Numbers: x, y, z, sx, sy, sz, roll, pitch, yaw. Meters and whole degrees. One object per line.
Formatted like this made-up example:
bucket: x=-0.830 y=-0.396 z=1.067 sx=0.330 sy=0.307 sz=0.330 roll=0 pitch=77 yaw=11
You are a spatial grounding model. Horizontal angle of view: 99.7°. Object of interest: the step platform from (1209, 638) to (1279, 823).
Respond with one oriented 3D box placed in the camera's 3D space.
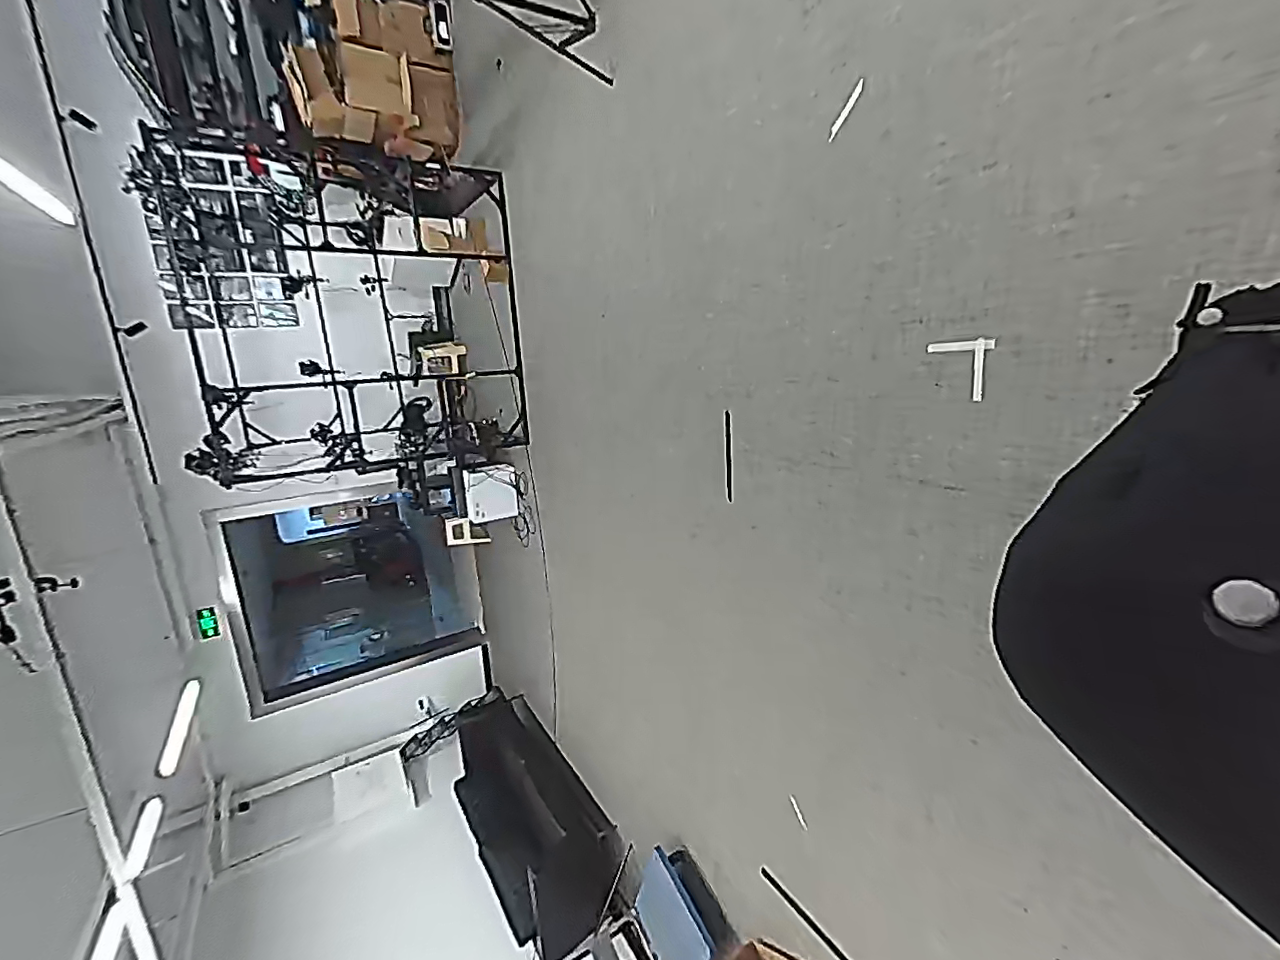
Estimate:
step platform: x=1.296 y=0.491 z=0.757 sx=0.684 sy=0.204 sz=0.286 roll=17 pitch=113 yaw=58
